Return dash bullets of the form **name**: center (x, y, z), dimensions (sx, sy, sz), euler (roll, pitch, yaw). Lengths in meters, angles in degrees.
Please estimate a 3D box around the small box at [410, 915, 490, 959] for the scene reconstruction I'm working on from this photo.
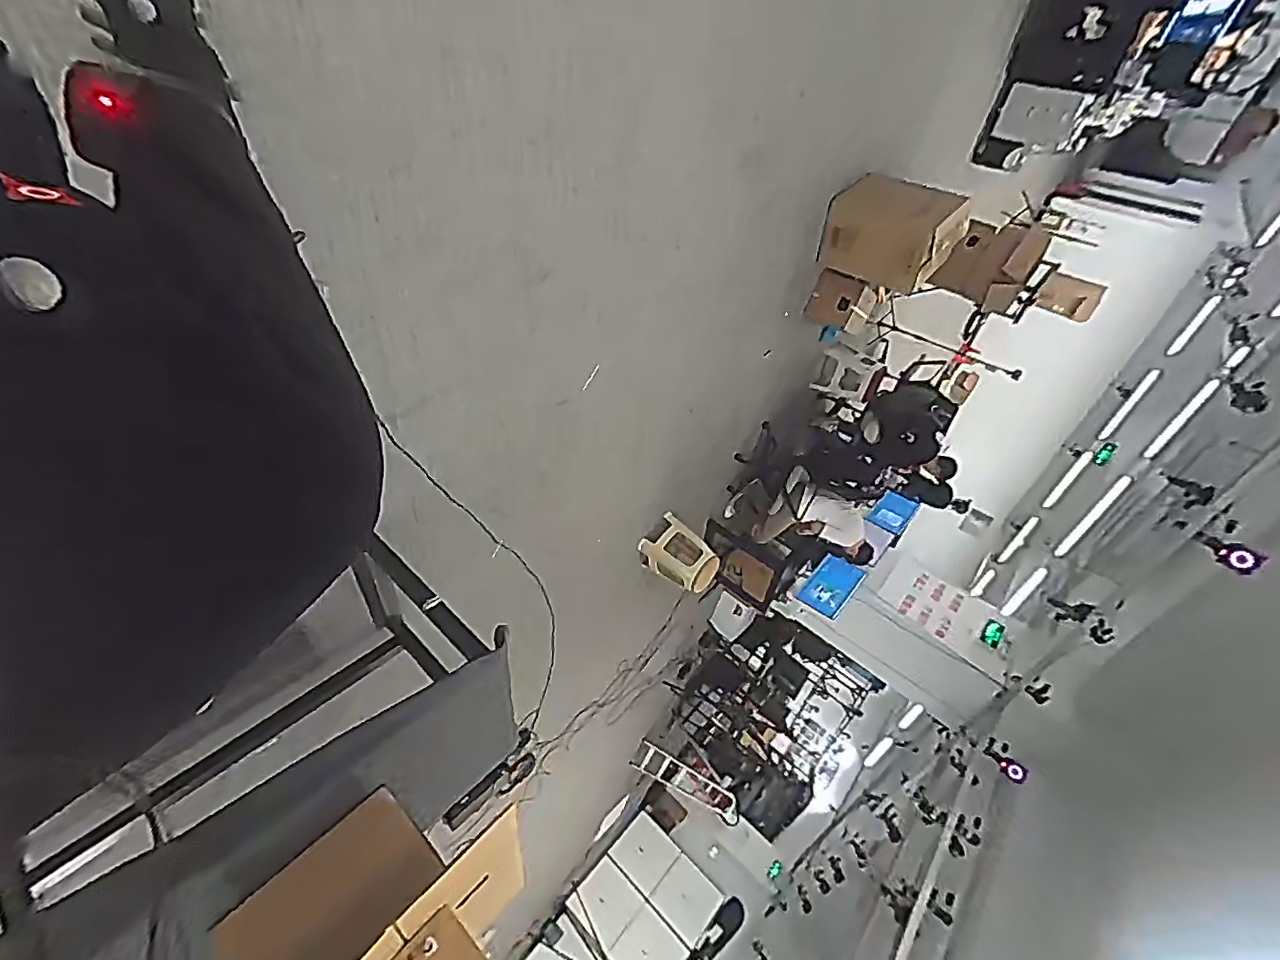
- **small box**: center (-0.398, 1.068, 1.132), dimensions (0.168, 0.176, 0.179), euler (-35, 143, -39)
